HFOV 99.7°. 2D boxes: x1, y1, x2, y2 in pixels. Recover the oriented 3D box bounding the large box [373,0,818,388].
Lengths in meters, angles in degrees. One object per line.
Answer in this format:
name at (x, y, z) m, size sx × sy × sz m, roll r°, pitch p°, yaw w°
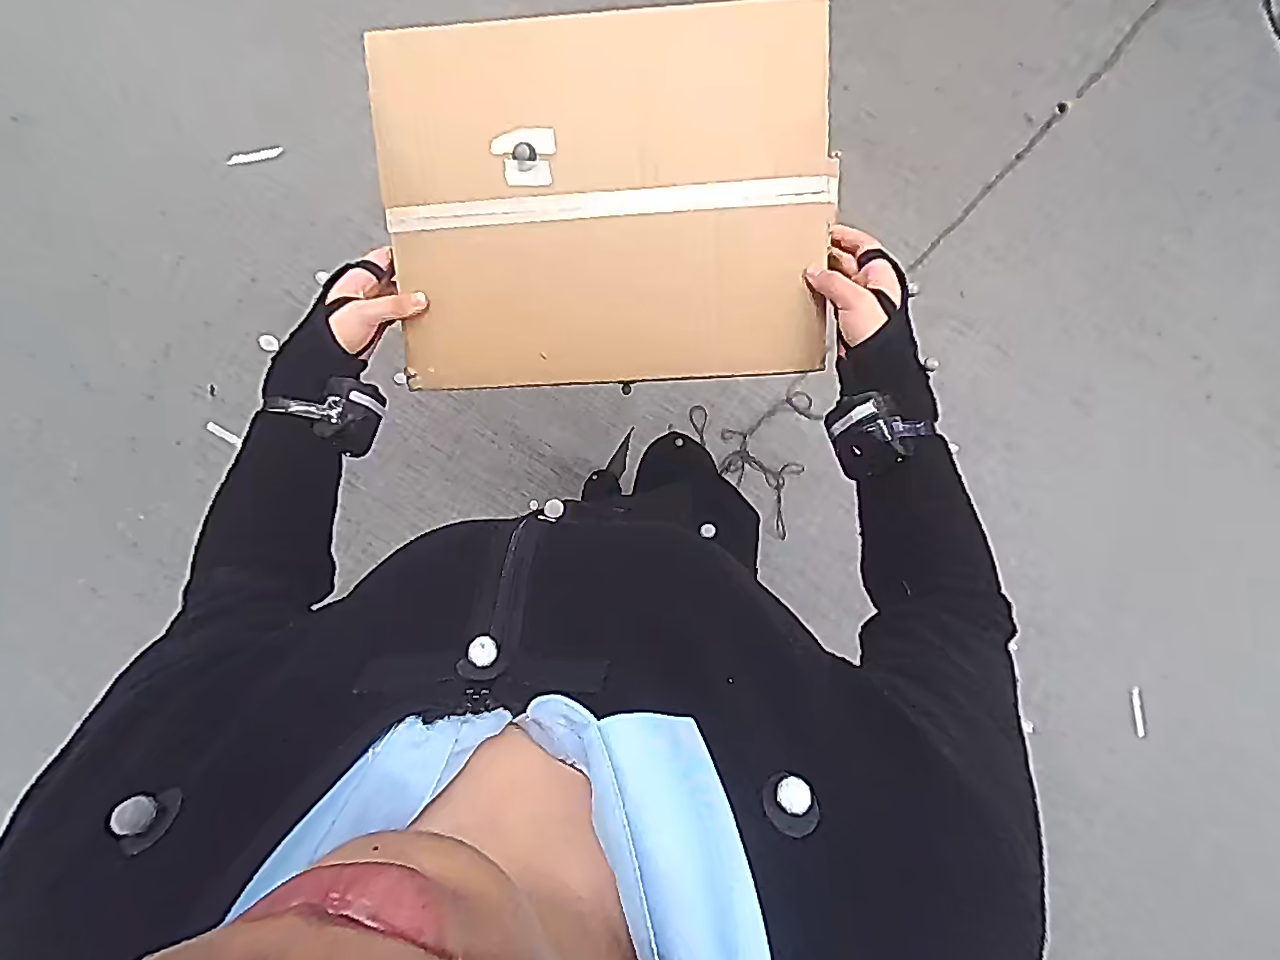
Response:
large box at (-0.026, -0.285, 0.651) m, size 0.408 × 0.320 × 0.320 m, roll -3°, pitch 100°, yaw 4°
